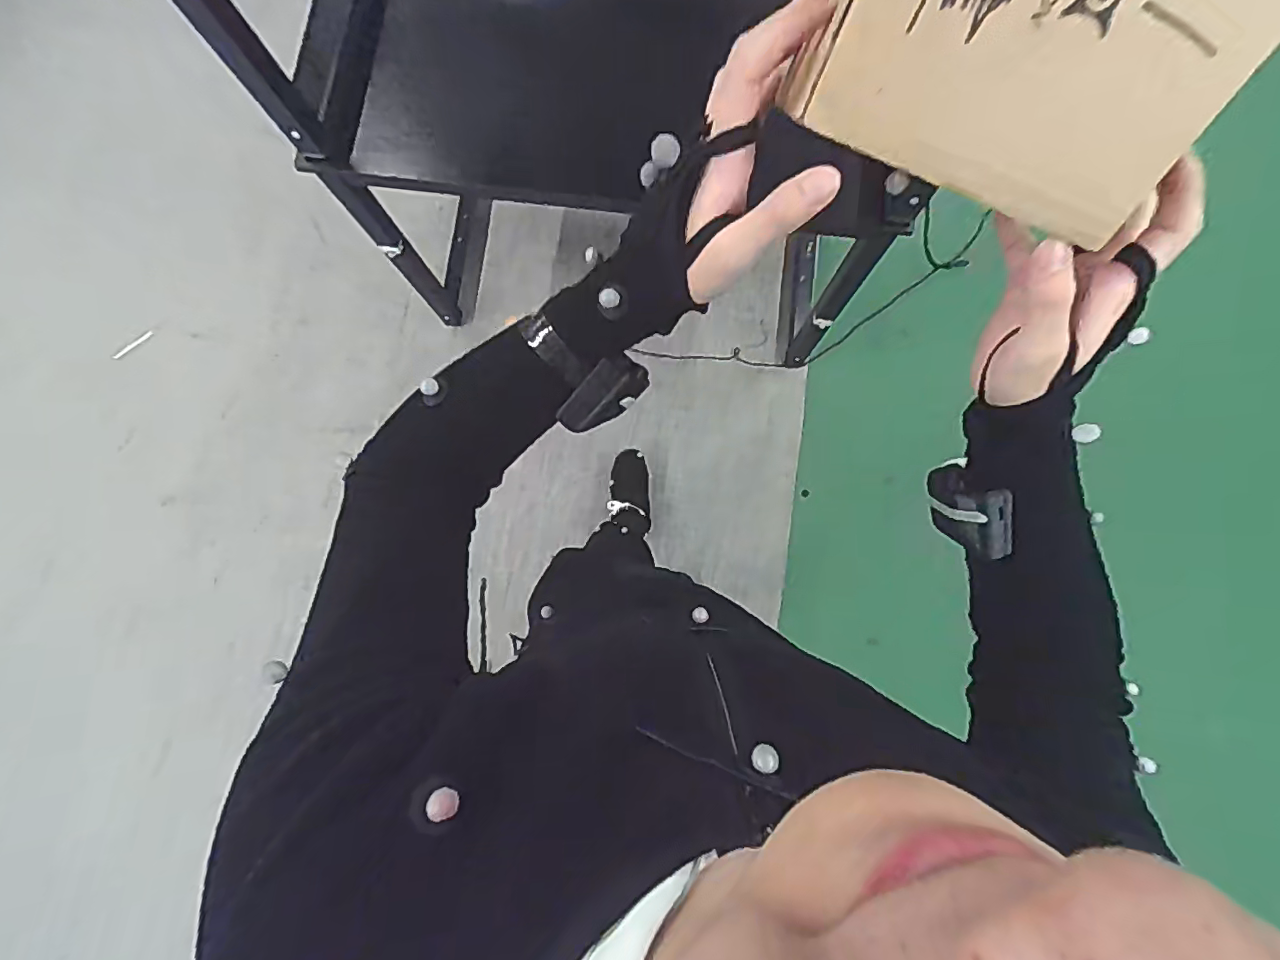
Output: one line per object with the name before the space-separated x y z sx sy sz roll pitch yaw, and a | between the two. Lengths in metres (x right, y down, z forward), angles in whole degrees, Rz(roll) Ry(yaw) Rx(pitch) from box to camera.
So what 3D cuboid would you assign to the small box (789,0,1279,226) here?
small box | 0.193 -0.259 0.270 0.179 0.168 0.176 18 40 -8
